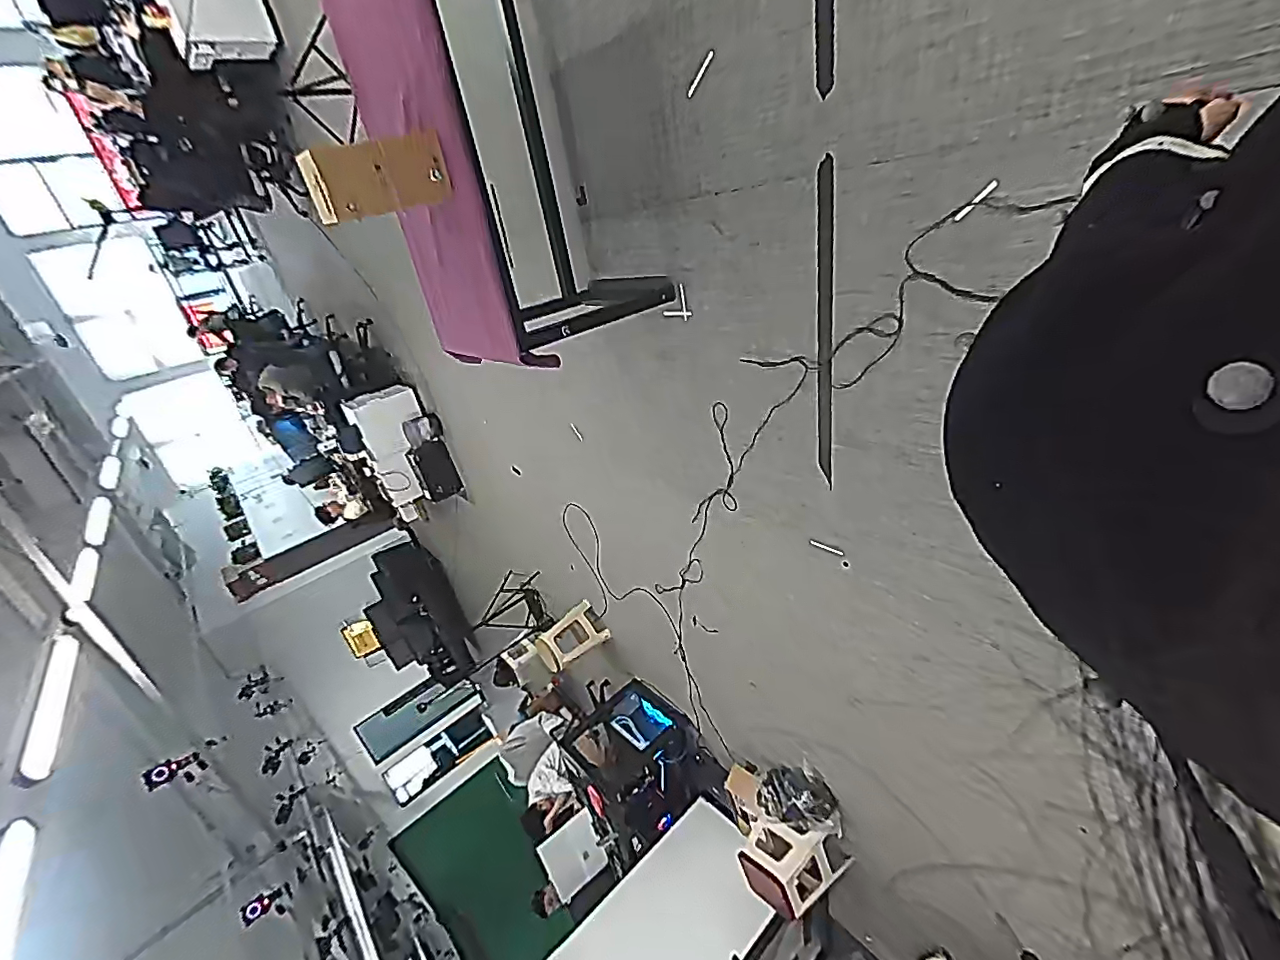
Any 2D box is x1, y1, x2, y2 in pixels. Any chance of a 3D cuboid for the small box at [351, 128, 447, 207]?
[{"bbox_3d":[-0.671,-0.871,1.513,0.179,0.176,0.168,23,134,44],"label":"small box"}]
